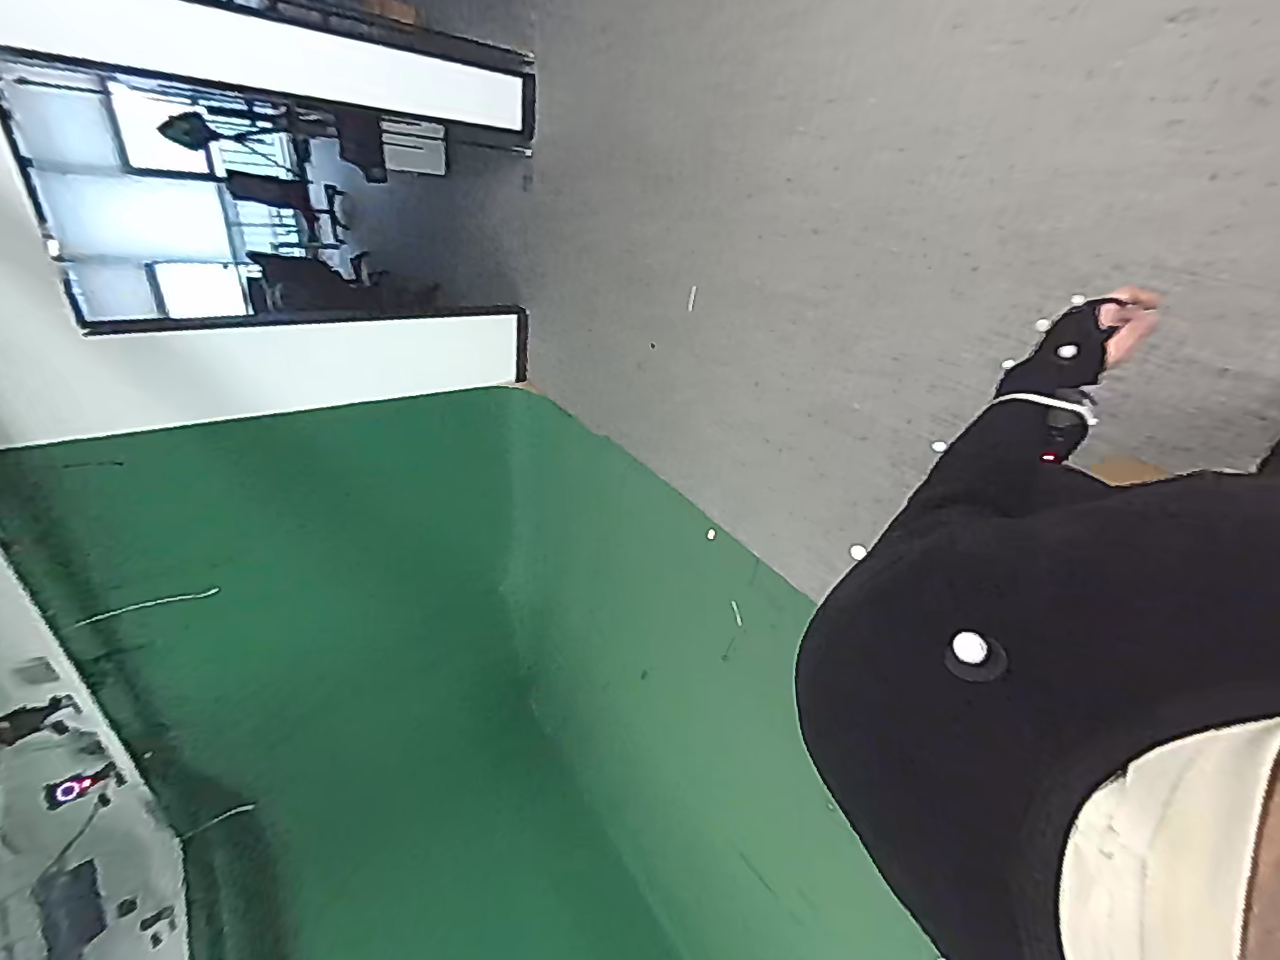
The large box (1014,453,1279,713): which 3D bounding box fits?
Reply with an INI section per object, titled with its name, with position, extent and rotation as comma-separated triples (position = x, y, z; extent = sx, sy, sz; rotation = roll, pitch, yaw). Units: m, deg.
[large box]
position = 1.124, 0.183, 1.136
extent = 0.408, 0.320, 0.320
rotation = 38, 131, 41
